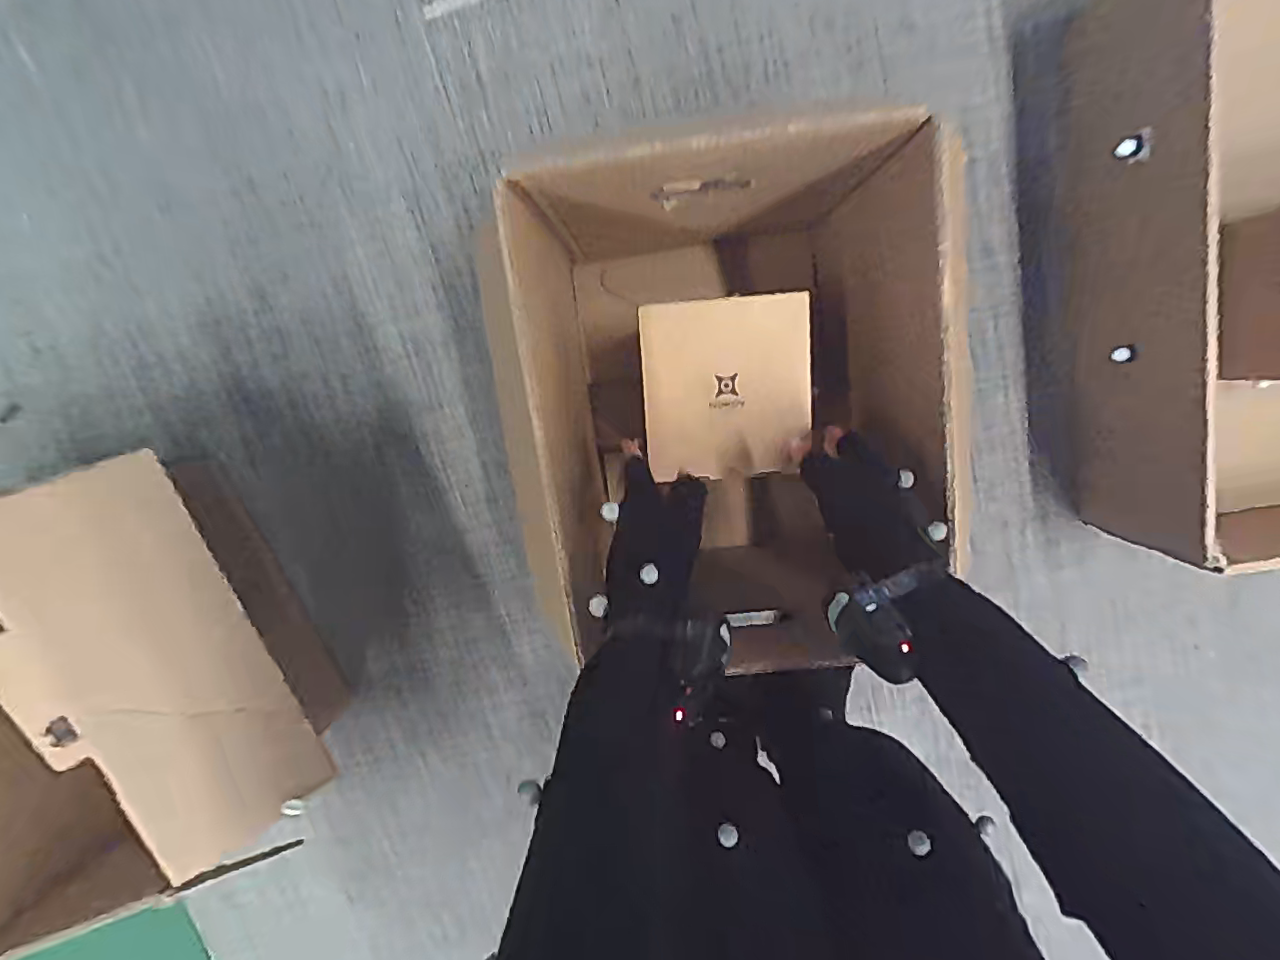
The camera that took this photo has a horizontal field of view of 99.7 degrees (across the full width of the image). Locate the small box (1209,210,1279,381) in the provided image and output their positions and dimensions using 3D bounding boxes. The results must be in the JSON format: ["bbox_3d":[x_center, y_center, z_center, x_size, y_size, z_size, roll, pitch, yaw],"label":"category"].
[{"bbox_3d":[0.730,-0.193,0.536,0.168,0.176,0.179,-7,99,3],"label":"small box"}]
